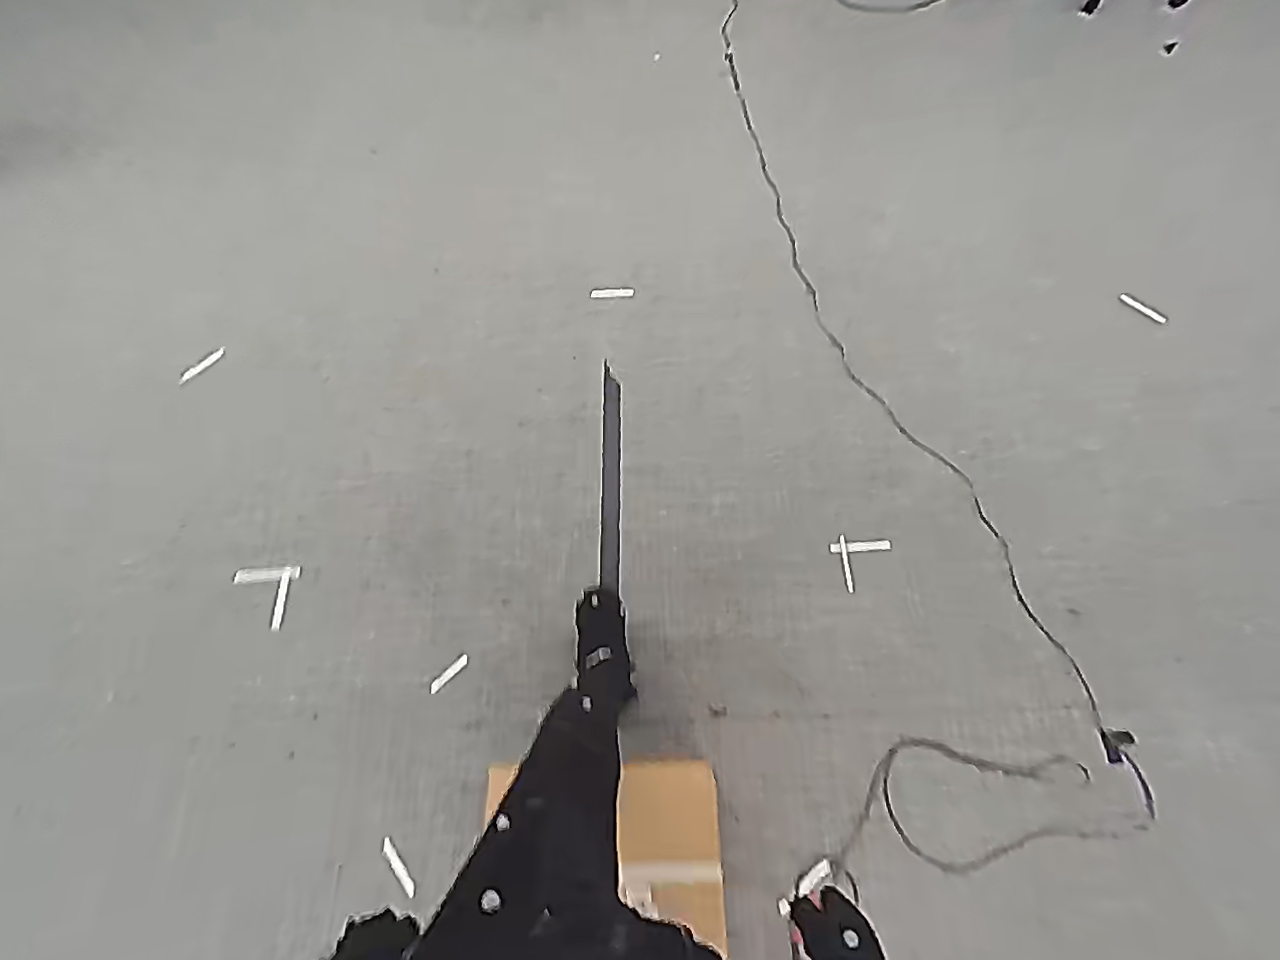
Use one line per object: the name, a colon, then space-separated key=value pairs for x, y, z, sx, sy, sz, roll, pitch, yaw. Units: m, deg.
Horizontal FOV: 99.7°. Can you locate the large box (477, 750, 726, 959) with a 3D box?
large box: x=-0.062 y=0.700 z=1.042 sx=0.408 sy=0.320 sz=0.320 roll=-2 pitch=66 yaw=2
